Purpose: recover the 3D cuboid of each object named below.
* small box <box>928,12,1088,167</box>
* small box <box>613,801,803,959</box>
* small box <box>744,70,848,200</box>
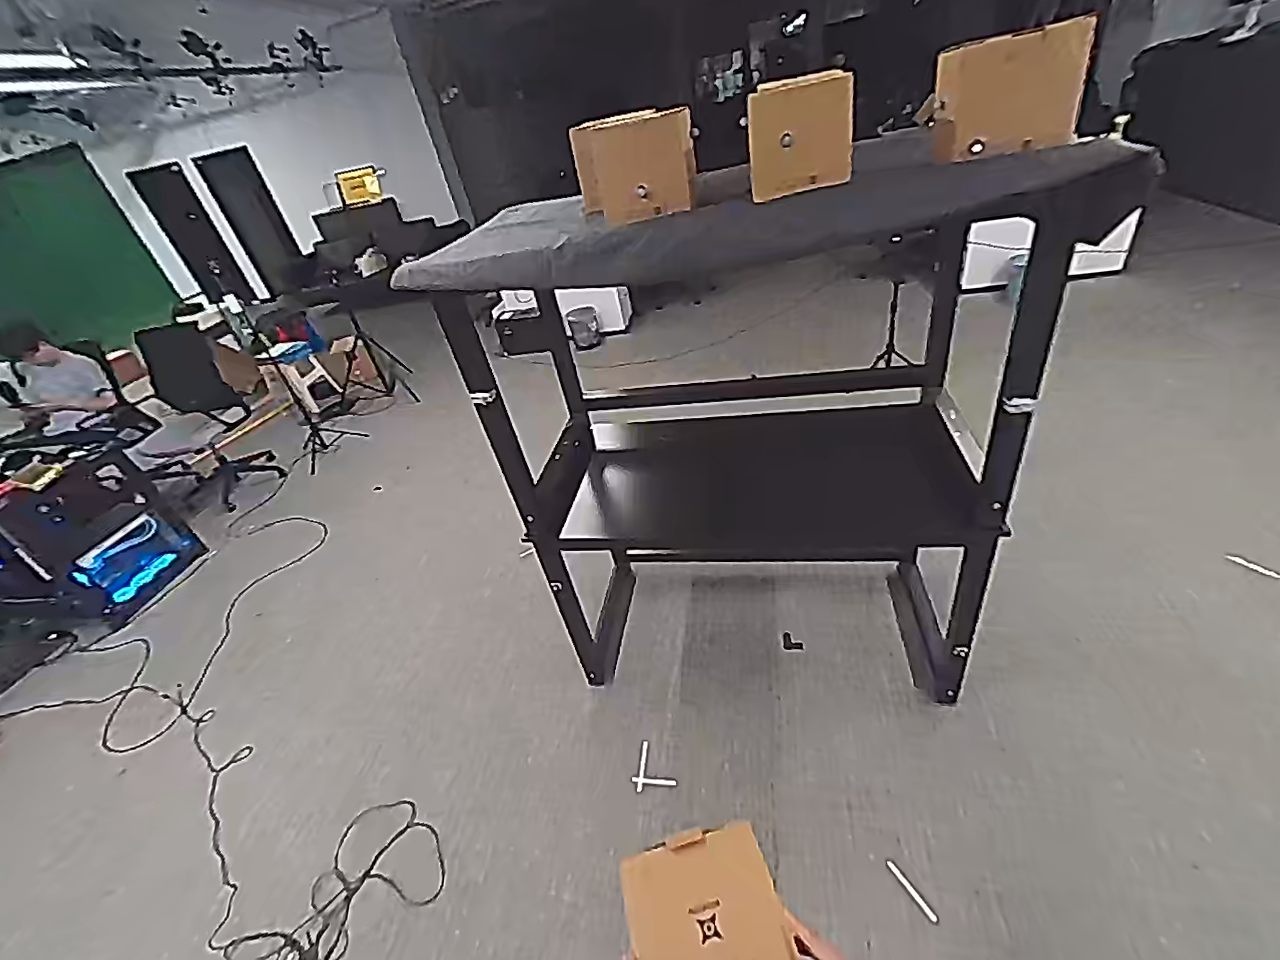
[{"bbox_3d":[0.582,-0.622,0.881,0.168,0.176,0.179,-2,33,17],"label":"small box"},{"bbox_3d":[0.068,0.516,0.617,0.168,0.176,0.179,-10,33,-10],"label":"small box"},{"bbox_3d":[0.282,-0.620,0.982,0.168,0.176,0.179,-3,34,14],"label":"small box"}]
